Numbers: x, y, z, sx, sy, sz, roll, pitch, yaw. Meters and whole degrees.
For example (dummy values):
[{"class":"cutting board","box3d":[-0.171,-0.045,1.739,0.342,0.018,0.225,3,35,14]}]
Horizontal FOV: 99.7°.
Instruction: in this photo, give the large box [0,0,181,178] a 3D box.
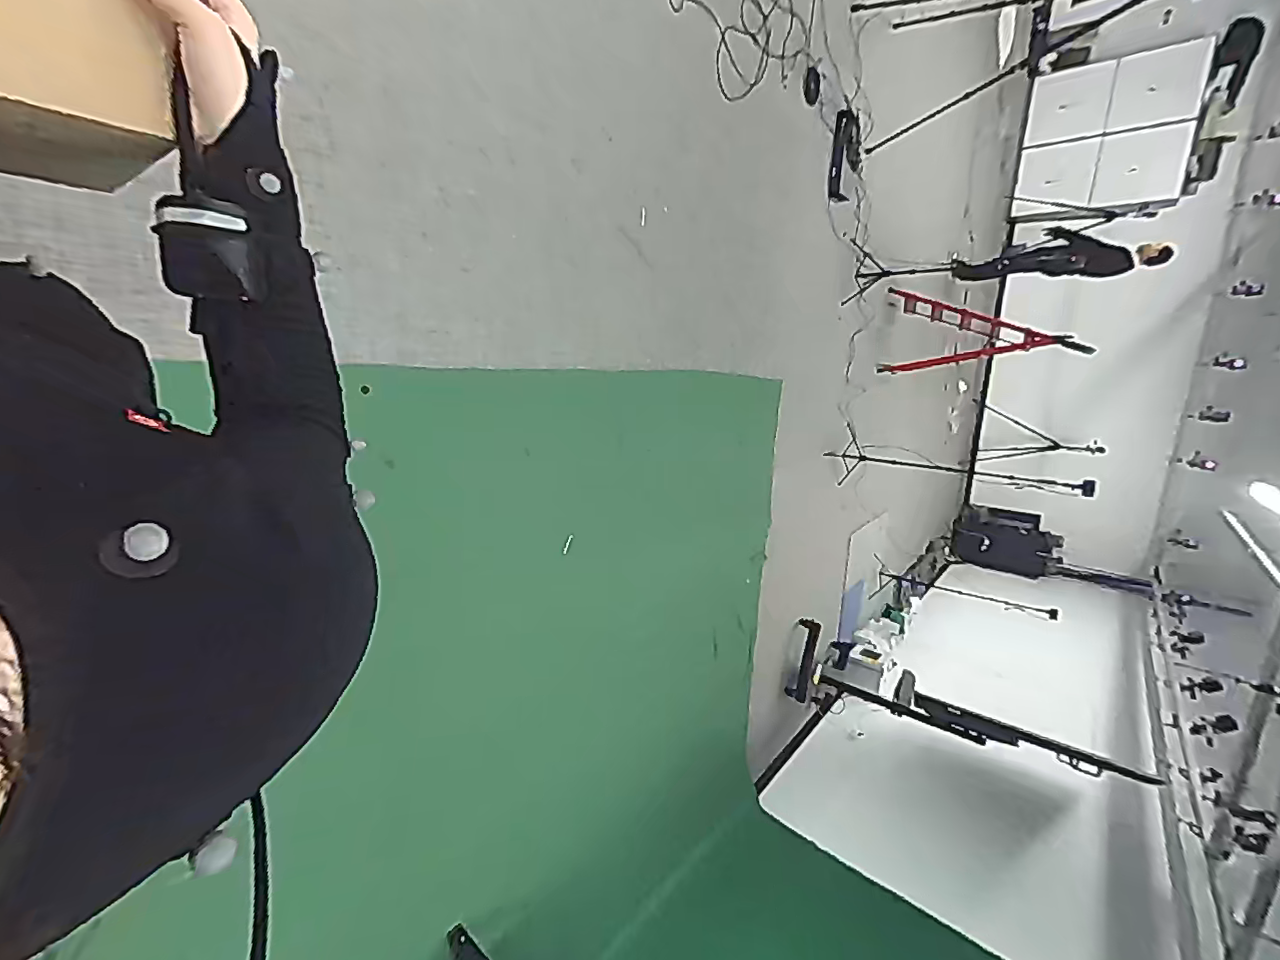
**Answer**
[{"class":"large box","box3d":[-0.550,-0.389,0.276,0.408,0.320,0.320,-14,113,-50]}]
